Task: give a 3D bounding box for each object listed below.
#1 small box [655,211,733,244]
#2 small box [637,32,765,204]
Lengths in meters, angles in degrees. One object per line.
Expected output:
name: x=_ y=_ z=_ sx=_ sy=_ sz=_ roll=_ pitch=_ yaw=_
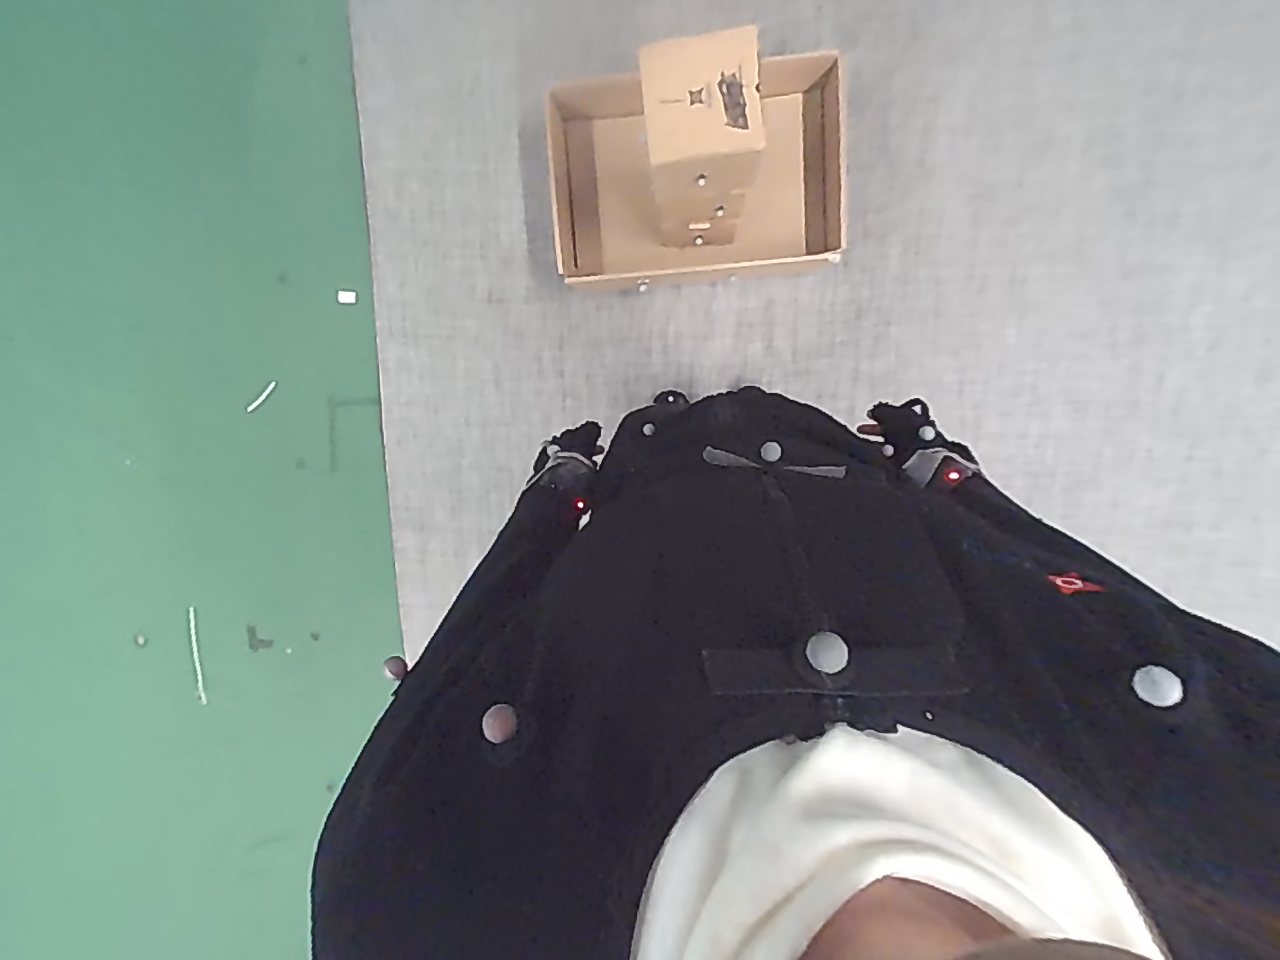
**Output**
small box: x=0.122 y=-0.635 z=1.203 sx=0.168 sy=0.176 sz=0.179 roll=0 pitch=99 yaw=5
small box: x=0.095 y=-0.576 z=0.884 sx=0.179 sy=0.176 sz=0.168 roll=-9 pitch=99 yaw=5
